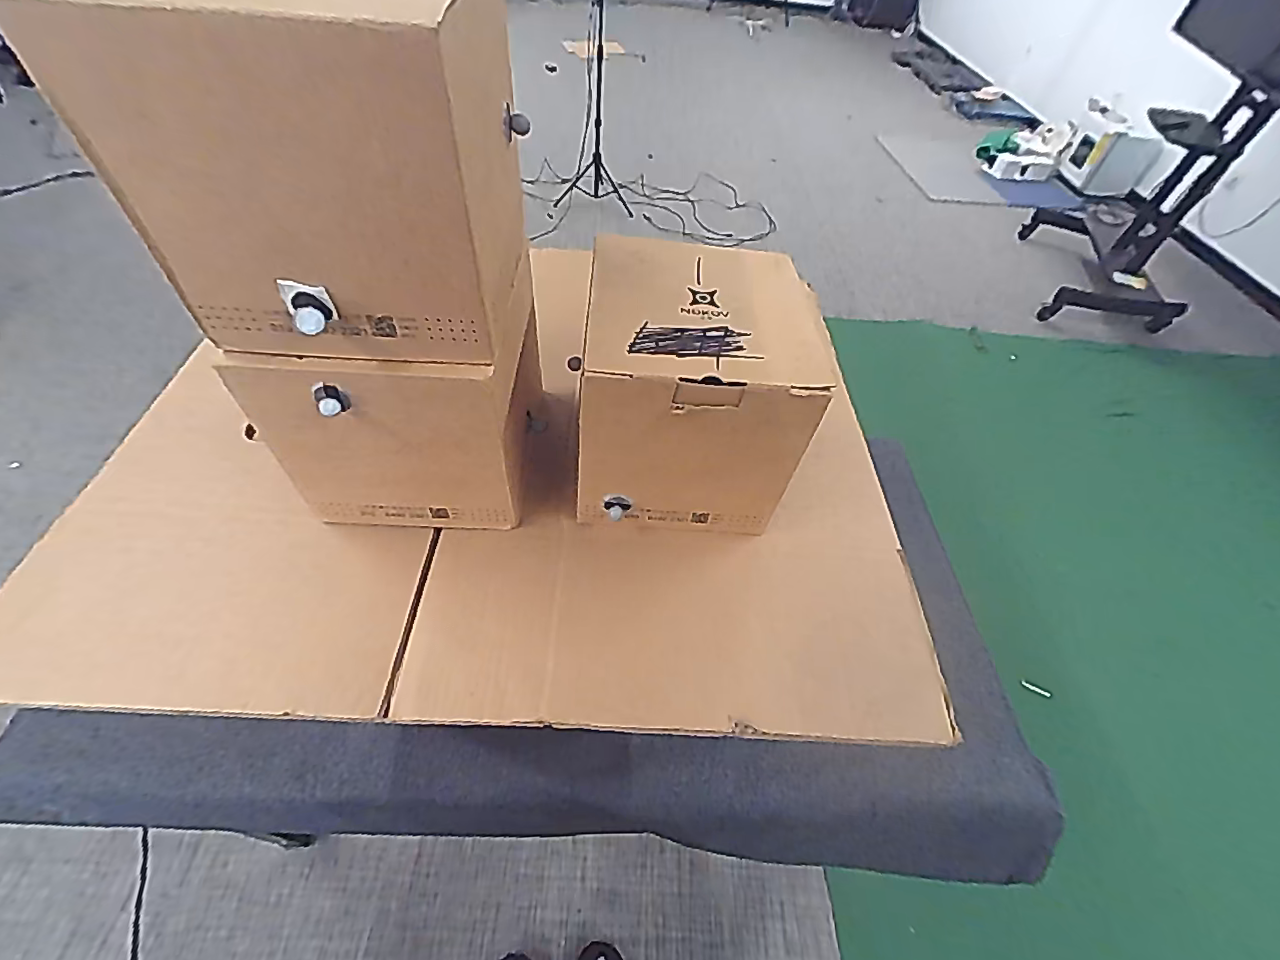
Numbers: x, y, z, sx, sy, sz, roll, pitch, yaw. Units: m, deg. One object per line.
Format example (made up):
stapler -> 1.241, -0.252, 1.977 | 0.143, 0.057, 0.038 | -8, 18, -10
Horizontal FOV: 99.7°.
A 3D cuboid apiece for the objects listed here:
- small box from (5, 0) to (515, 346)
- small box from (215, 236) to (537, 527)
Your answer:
small box -> -0.168, -0.201, 0.309 | 0.168, 0.176, 0.179 | 0, 53, -4
small box -> -0.180, -0.083, 0.442 | 0.168, 0.176, 0.179 | 2, 51, -2
